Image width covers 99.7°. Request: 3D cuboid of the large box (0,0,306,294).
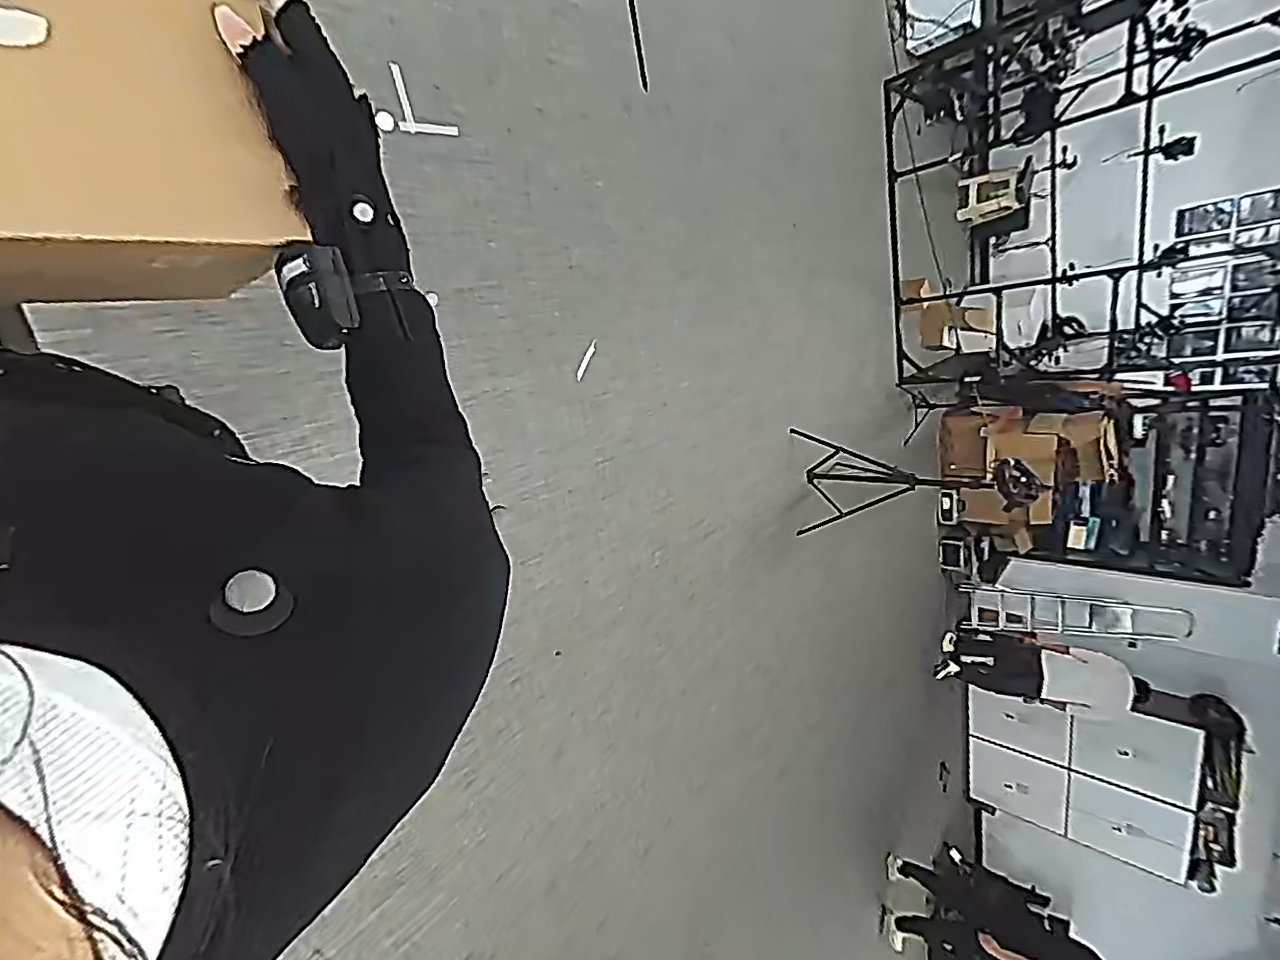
[{"bbox_3d":[-0.504,-0.287,0.322,0.408,0.320,0.320,-22,113,-44],"label":"large box"}]
